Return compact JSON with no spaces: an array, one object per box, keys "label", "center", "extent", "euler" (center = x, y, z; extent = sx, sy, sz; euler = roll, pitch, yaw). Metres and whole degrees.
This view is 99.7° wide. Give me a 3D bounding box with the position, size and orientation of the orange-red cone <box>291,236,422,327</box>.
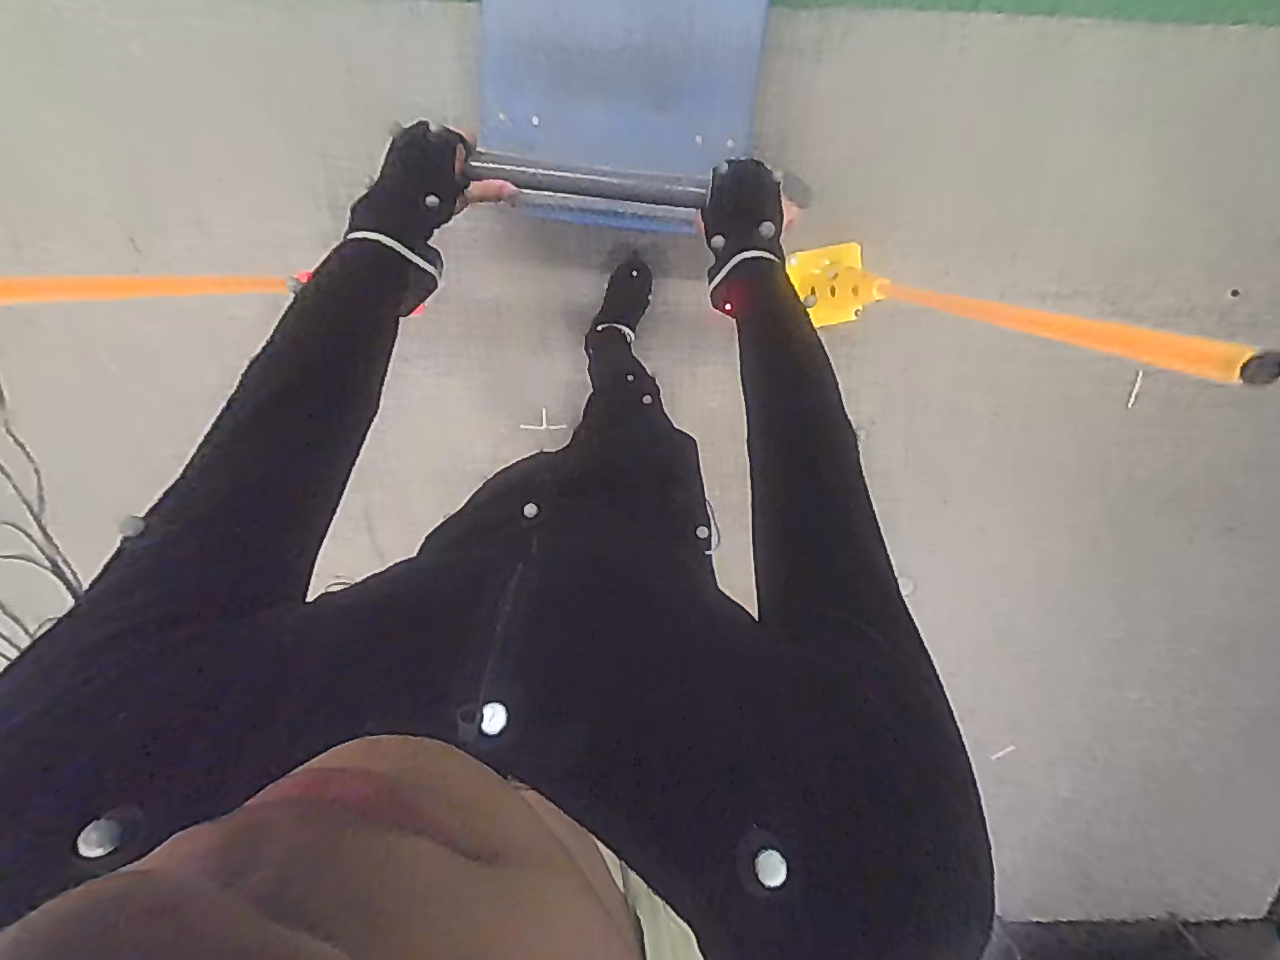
[{"label":"orange-red cone","center":[-0.684,-0.454,1.246],"extent":[0.199,0.360,0.198],"euler":[-13,110,5]}]
